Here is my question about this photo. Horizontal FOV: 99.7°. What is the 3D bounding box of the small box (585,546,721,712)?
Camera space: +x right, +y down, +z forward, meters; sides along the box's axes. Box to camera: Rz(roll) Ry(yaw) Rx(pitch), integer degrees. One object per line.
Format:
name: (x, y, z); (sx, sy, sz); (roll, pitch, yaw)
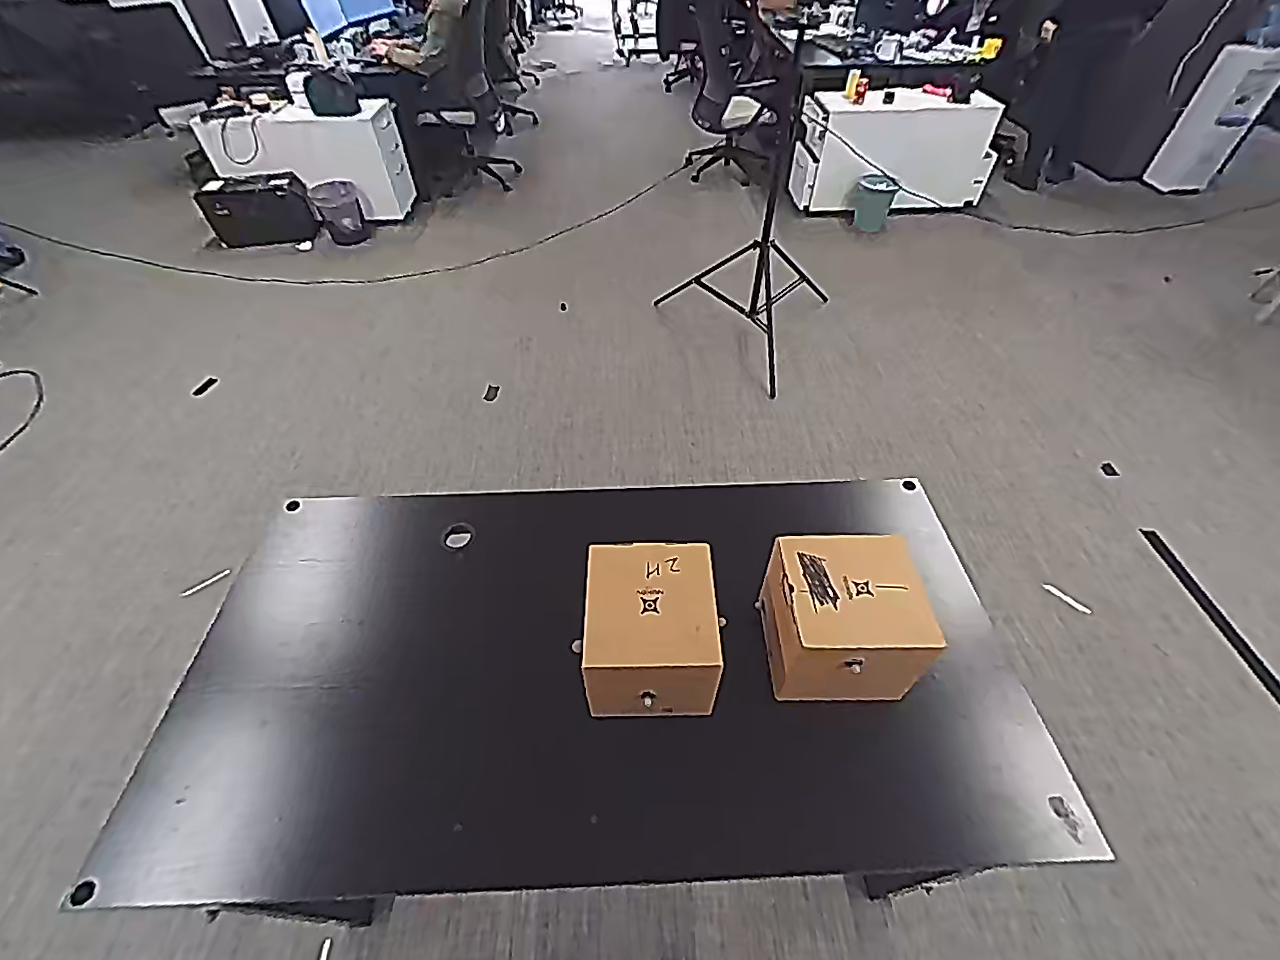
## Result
small box: (0.018, 0.211, 0.752); (0.168, 0.176, 0.179); (-1, 48, 0)

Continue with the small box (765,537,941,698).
small box: (0.278, 0.195, 0.760); (0.179, 0.176, 0.168); (0, 48, 0)
